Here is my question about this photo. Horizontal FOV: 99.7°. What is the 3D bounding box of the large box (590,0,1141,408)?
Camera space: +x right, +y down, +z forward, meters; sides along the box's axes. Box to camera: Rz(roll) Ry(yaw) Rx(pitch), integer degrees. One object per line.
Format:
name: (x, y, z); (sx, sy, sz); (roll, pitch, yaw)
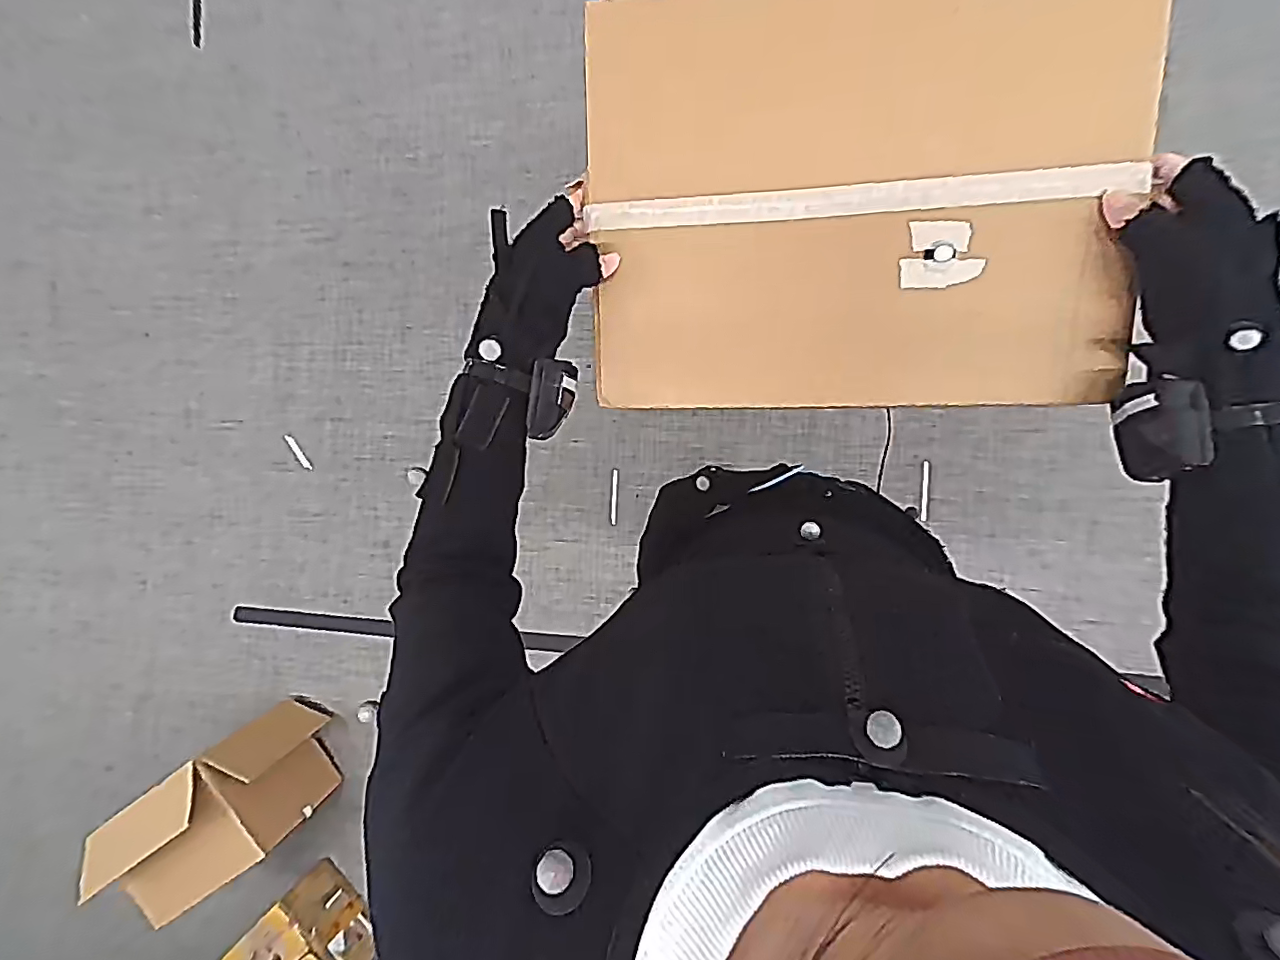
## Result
large box: (0.180, -0.242, 0.573); (0.408, 0.320, 0.320); (0, 100, 9)
